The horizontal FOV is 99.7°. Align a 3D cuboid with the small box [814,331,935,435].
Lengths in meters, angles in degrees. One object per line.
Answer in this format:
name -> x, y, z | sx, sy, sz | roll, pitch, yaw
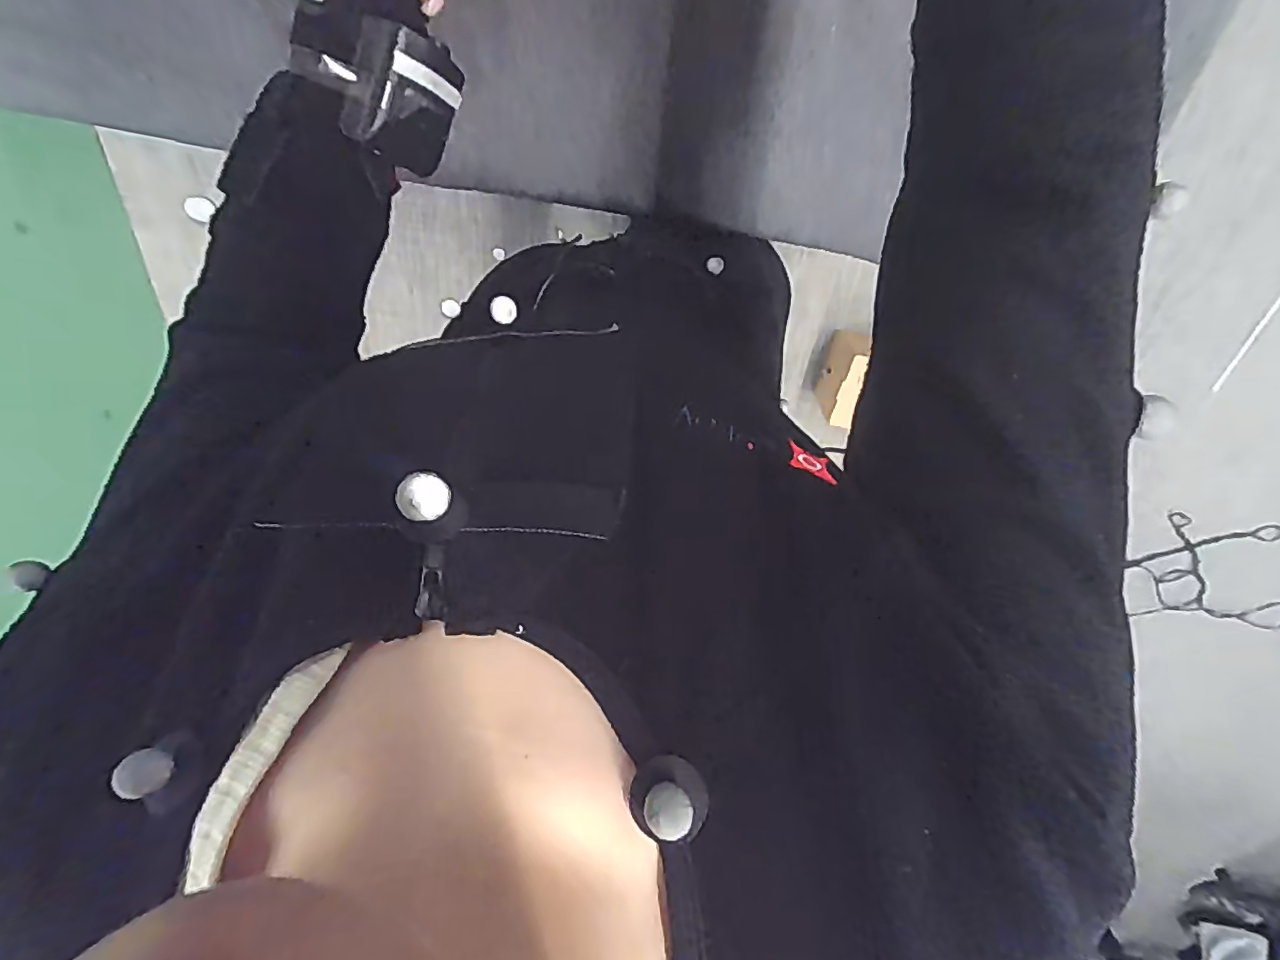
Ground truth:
small box -> 0.515, -0.222, 1.215 | 0.179, 0.176, 0.168 | 10, 122, -1
